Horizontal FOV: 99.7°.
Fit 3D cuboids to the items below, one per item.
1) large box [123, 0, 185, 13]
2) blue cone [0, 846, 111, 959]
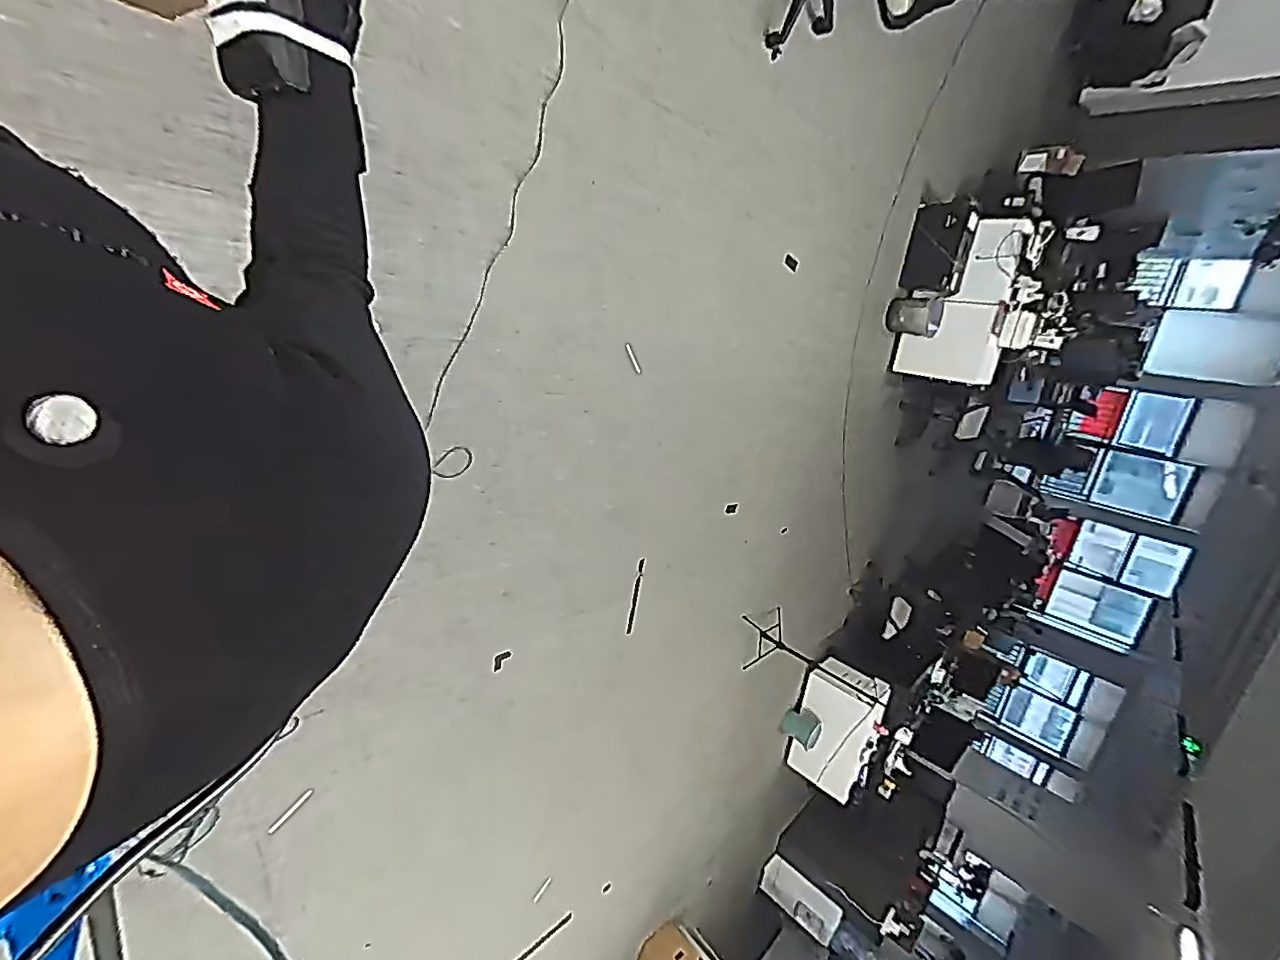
[{"bbox_3d":[-0.470,-0.524,0.263,0.408,0.320,0.320,-10,121,-48],"label":"large box"},{"bbox_3d":[-1.275,1.008,1.160,0.193,0.380,0.192,22,91,-49],"label":"blue cone"}]
